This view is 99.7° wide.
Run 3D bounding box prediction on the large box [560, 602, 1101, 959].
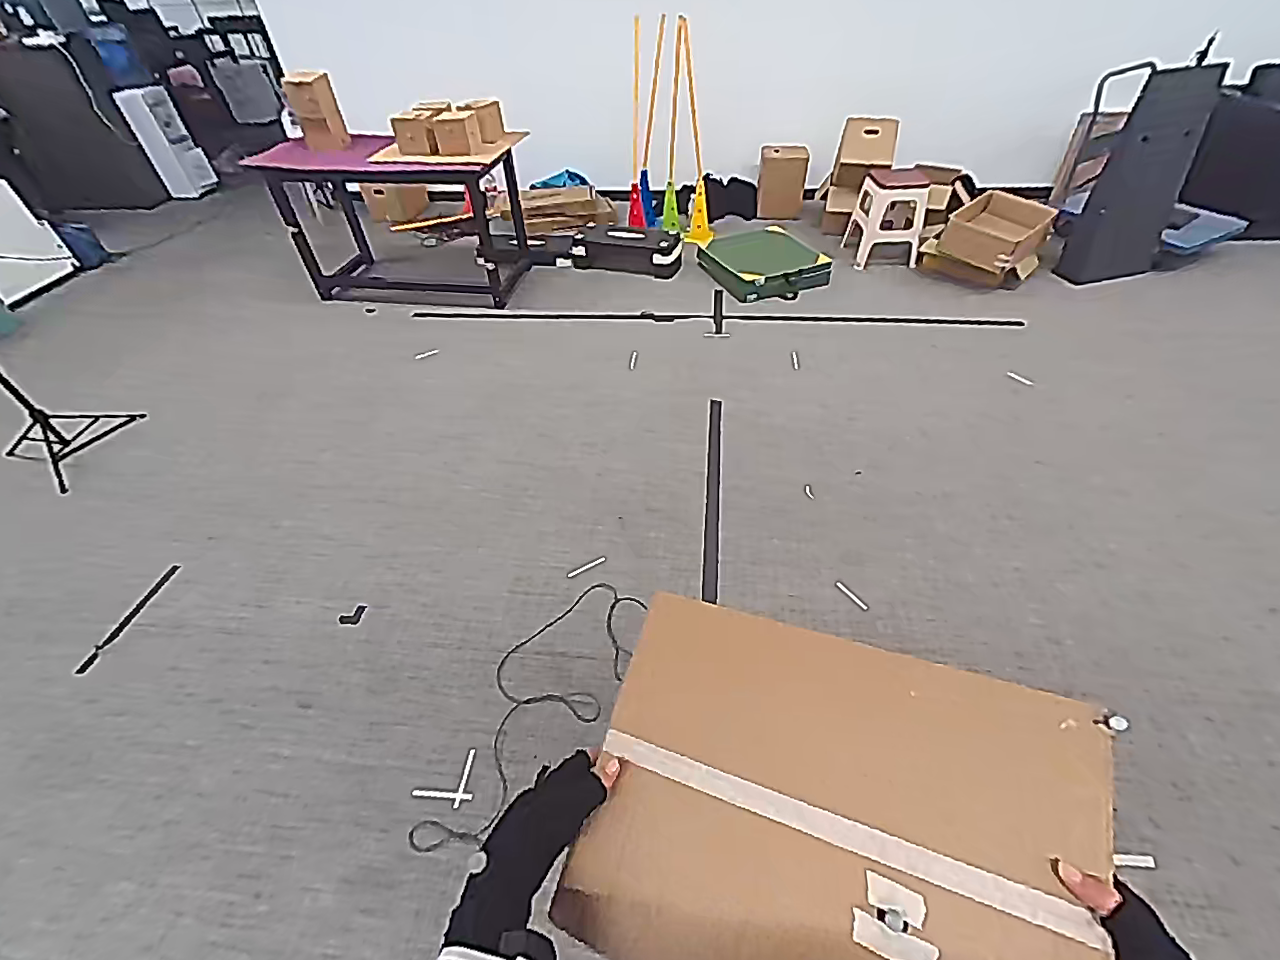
[{"bbox_3d":[0.189,0.365,0.591,0.408,0.320,0.320,11,66,21],"label":"large box"}]
